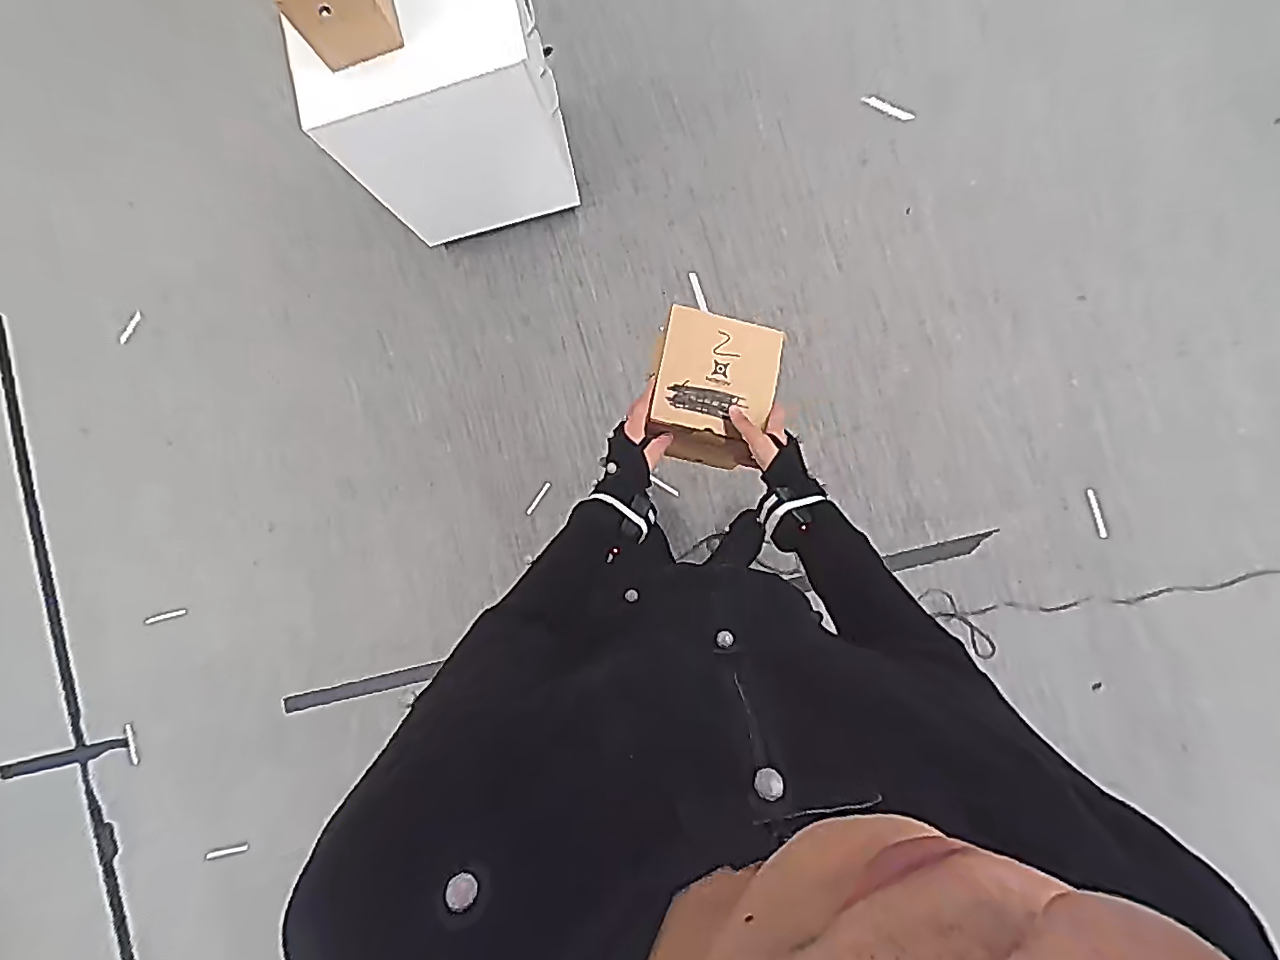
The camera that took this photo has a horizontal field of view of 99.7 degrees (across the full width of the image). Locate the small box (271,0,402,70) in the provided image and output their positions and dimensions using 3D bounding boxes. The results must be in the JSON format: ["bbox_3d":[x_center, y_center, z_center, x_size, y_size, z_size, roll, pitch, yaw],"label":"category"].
[{"bbox_3d":[-0.620,-0.985,1.096,0.179,0.176,0.168,-15,87,5],"label":"small box"}]
